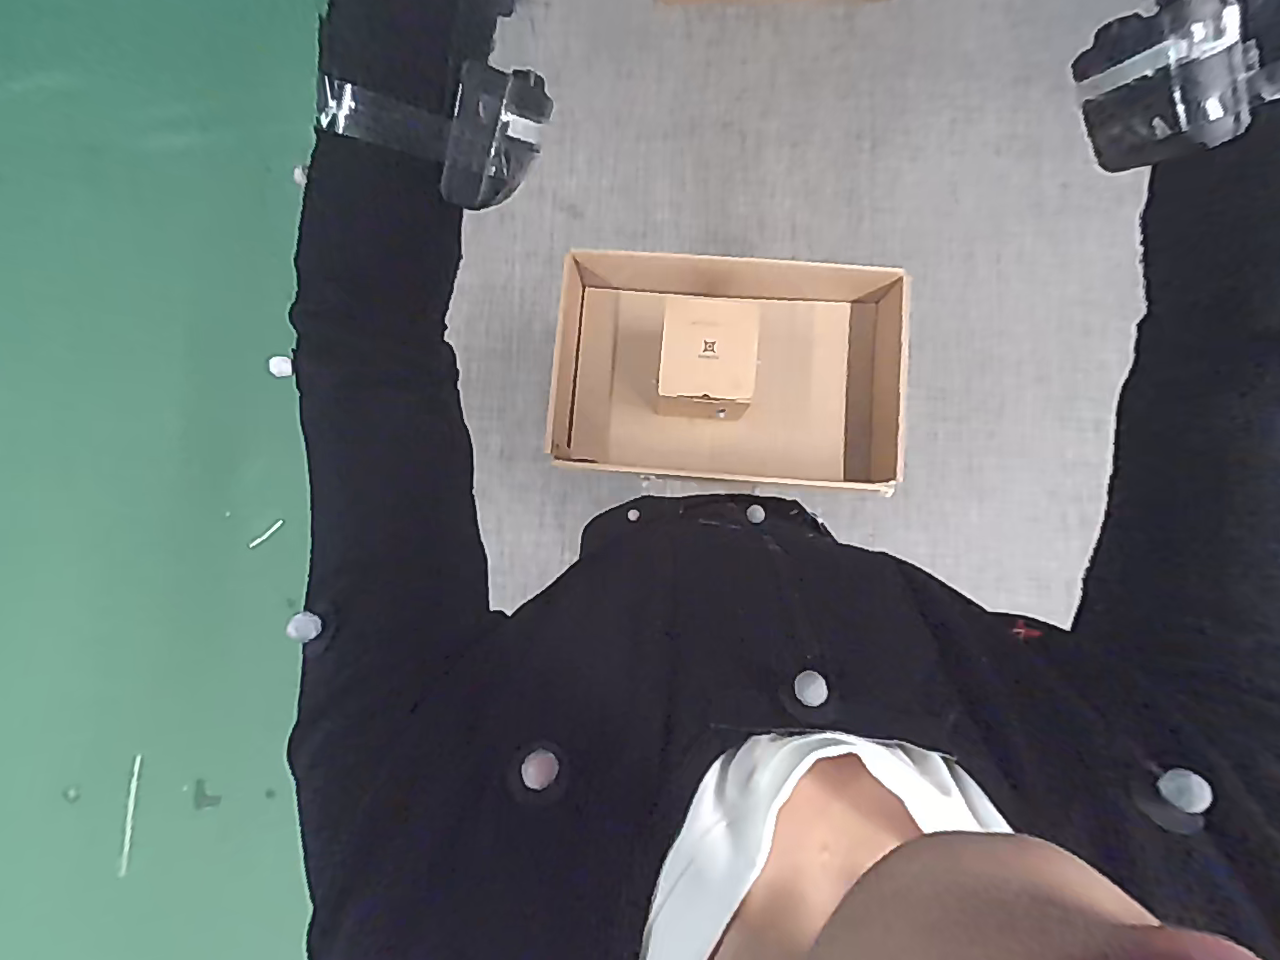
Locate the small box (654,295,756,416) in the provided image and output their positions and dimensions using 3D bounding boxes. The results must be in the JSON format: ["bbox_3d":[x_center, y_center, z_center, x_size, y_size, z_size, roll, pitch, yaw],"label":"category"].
[{"bbox_3d":[0.114,-0.222,1.007,0.168,0.176,0.179,4,84,0],"label":"small box"}]
